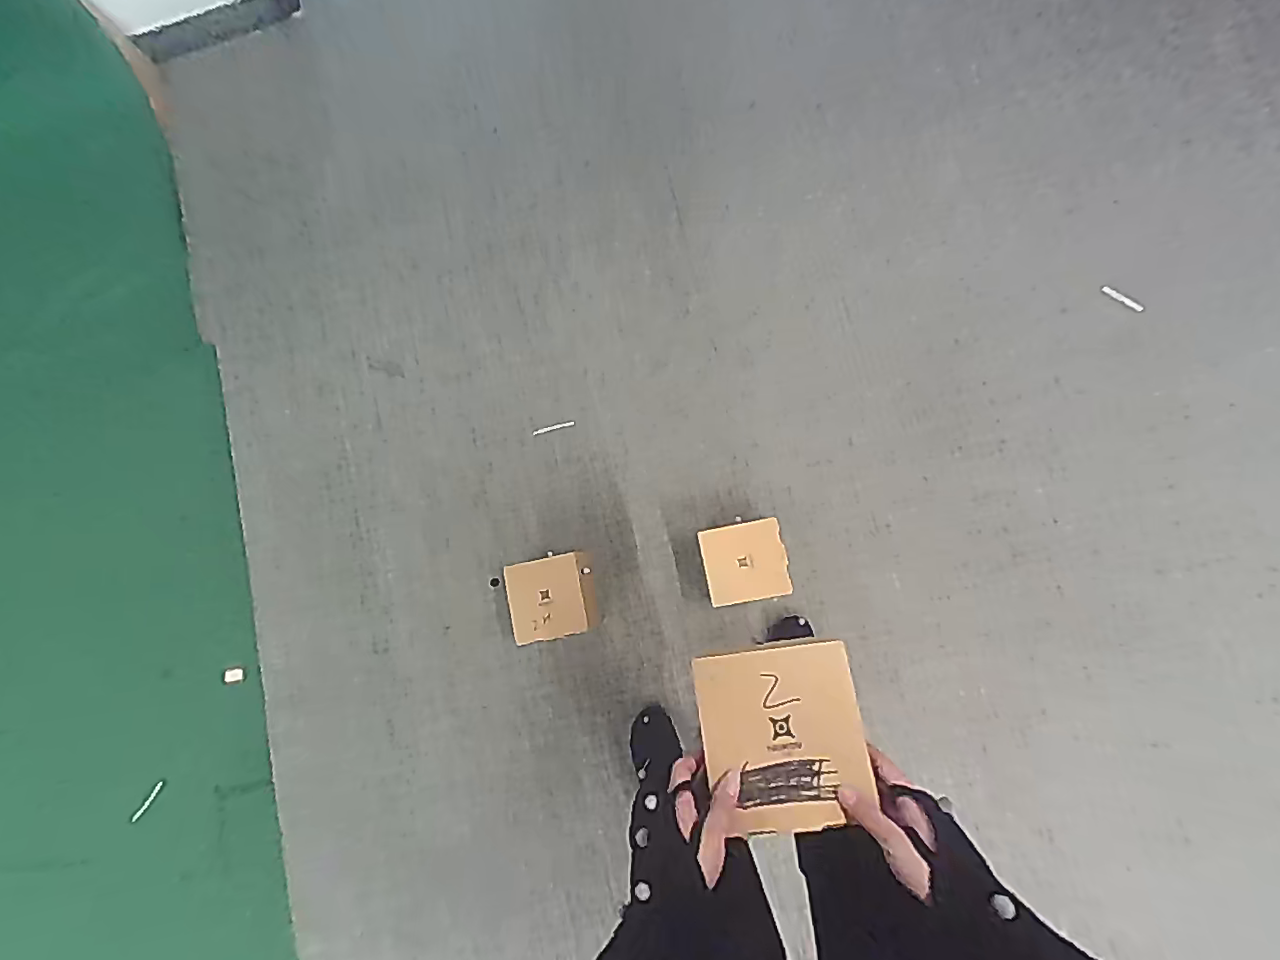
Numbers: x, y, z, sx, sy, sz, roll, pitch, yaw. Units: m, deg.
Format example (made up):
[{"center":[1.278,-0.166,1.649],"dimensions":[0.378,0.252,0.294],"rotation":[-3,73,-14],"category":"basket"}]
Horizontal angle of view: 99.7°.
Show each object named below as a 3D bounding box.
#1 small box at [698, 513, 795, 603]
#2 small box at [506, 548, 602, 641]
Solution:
[{"center":[0.233,0.174,1.216],"dimensions":[0.179,0.176,0.168],"rotation":[-12,82,4],"category":"small box"},{"center":[-0.193,0.259,1.248],"dimensions":[0.168,0.176,0.179],"rotation":[-13,82,4],"category":"small box"}]
